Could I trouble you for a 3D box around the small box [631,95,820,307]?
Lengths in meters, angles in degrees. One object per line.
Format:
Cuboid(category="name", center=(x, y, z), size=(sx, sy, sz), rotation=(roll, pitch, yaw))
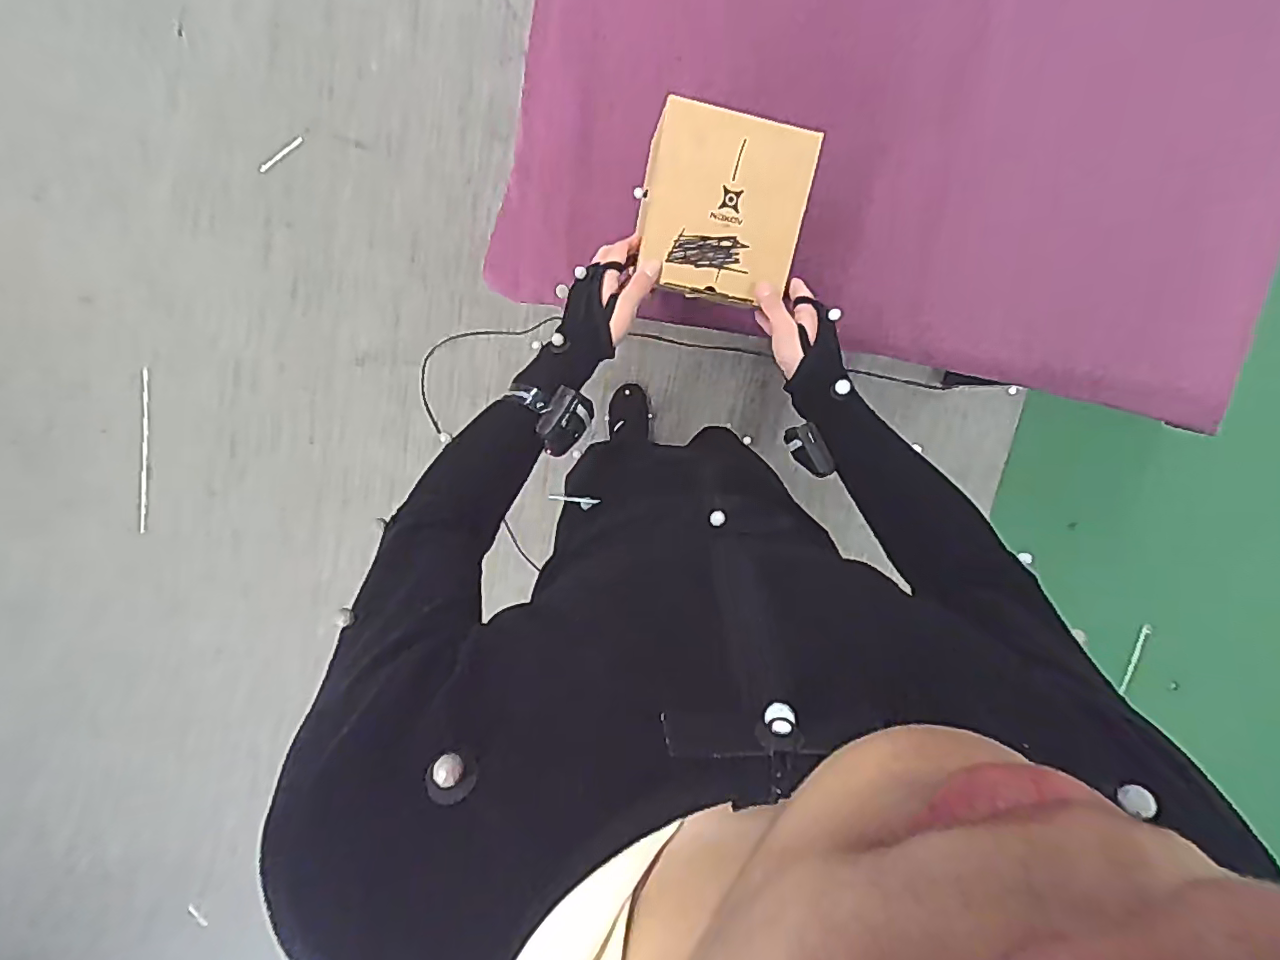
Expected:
Cuboid(category="small box", center=(0.085, -0.310, 0.643), size=(0.168, 0.176, 0.179), rotation=(9, 106, -8))
